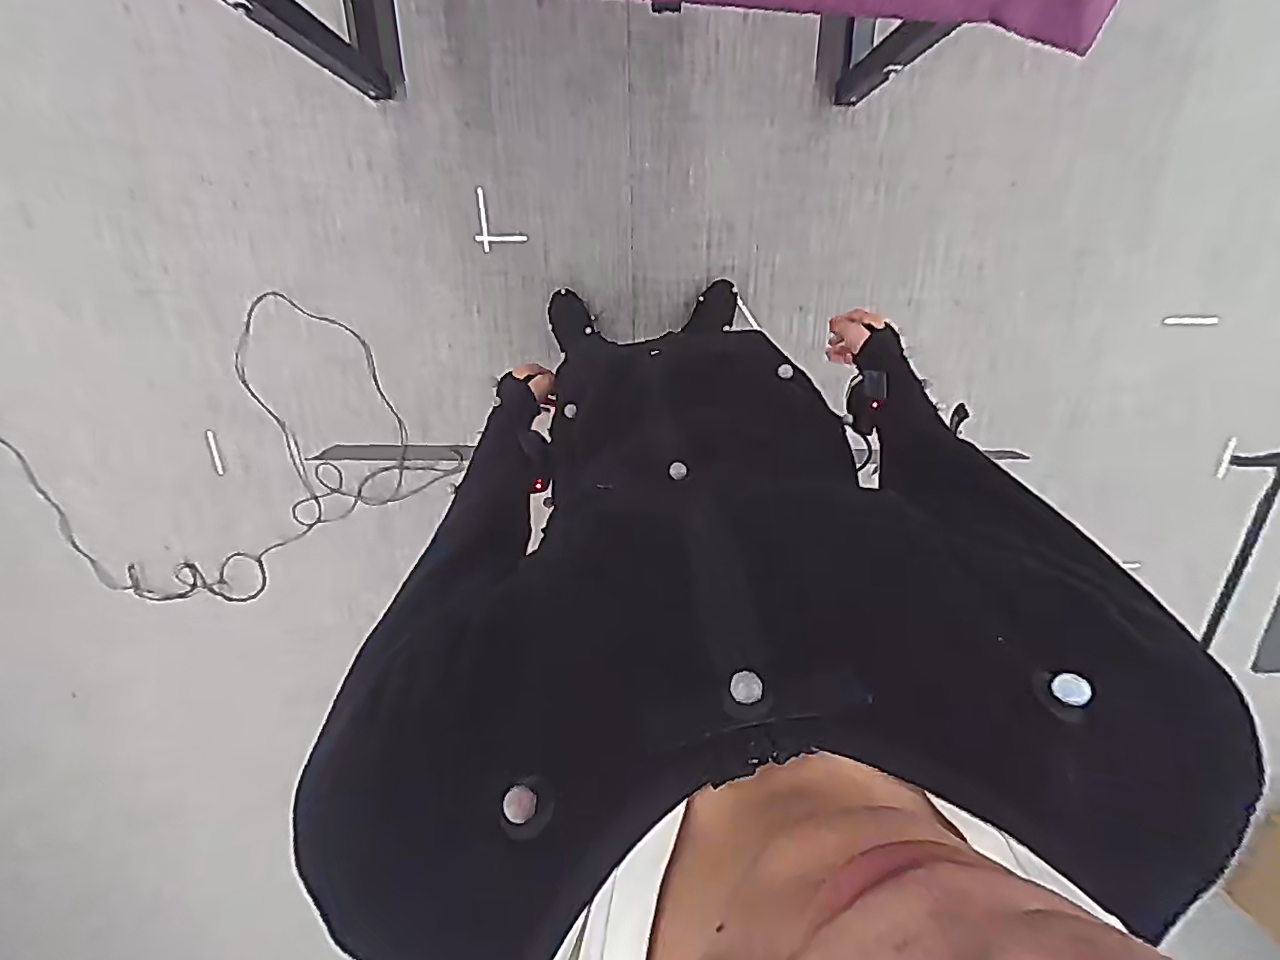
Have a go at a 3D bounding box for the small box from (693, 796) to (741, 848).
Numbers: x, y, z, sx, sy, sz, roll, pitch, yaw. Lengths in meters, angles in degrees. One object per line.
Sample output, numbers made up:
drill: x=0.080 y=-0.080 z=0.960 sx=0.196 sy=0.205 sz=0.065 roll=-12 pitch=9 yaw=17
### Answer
small box: x=0.304 y=1.392 z=2.148 sx=0.168 sy=0.176 sz=0.179 roll=-4 pitch=111 yaw=0

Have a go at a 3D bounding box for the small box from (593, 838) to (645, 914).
small box: x=-0.077 y=1.451 z=1.986 sx=0.179 sy=0.176 sz=0.168 roll=4 pitch=111 yaw=-3
